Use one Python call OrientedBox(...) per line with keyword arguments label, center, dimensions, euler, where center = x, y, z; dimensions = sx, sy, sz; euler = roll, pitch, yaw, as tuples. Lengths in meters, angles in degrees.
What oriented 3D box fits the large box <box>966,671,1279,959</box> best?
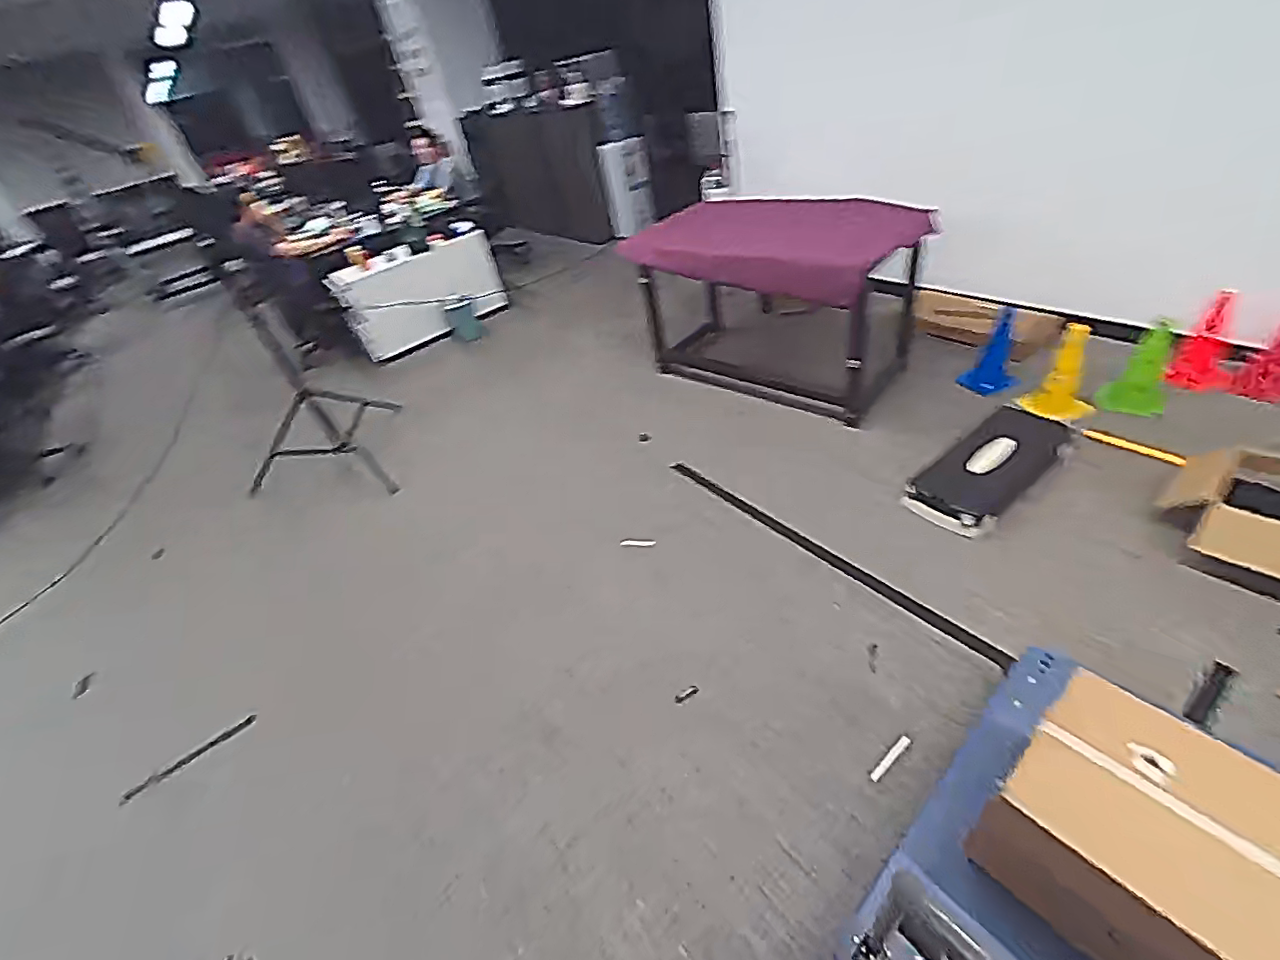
OrientedBox(label="large box", center=(0.839, 0.614, 0.887), dimensions=(0.320, 0.320, 0.408), euler=(-34, 43, -24))
